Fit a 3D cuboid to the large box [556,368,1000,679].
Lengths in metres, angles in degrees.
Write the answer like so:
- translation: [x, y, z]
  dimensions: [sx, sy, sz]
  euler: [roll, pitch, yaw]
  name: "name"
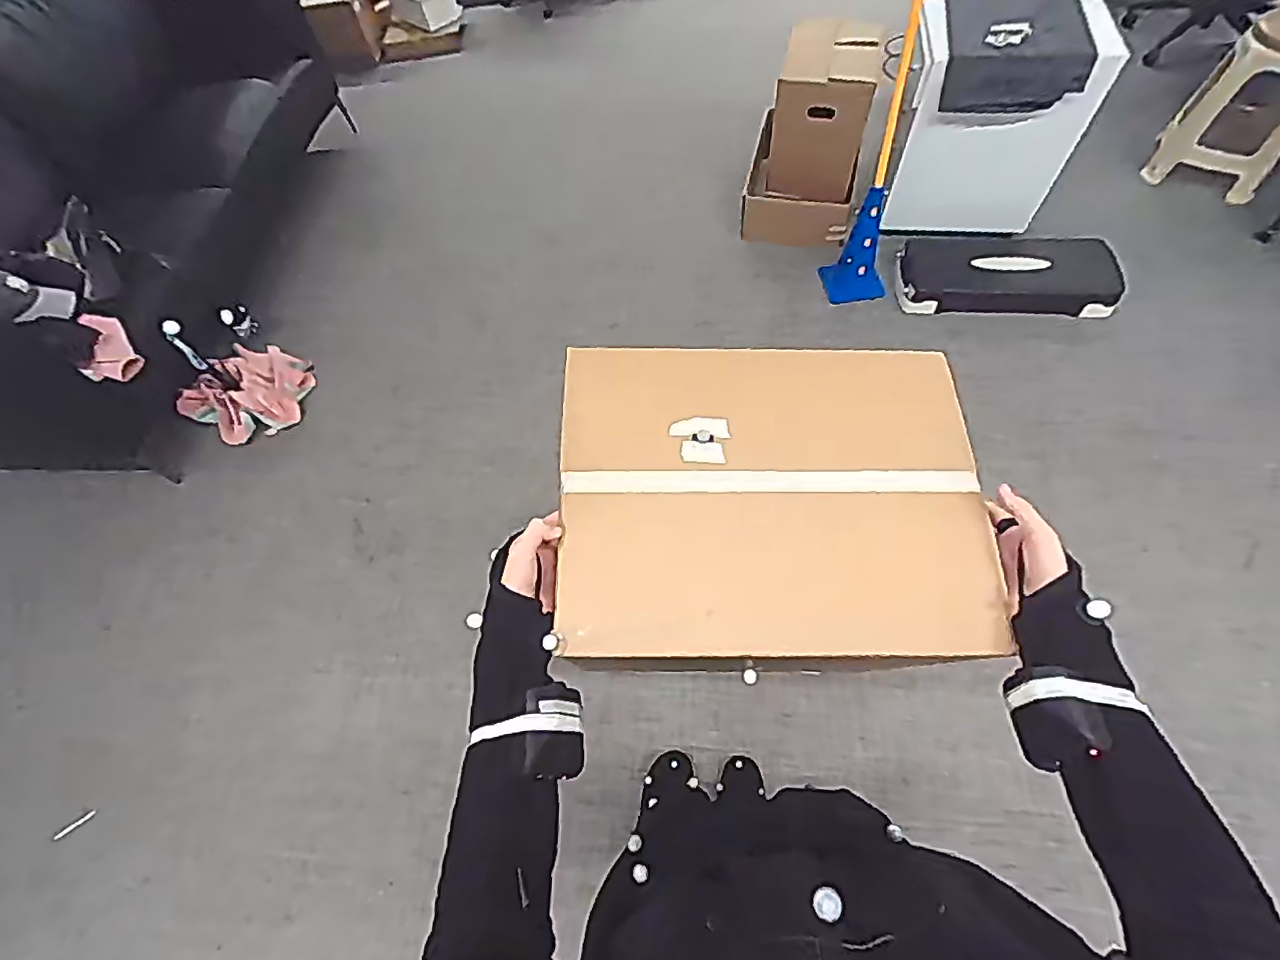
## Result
- translation: [0.122, 0.077, 0.670]
  dimensions: [0.408, 0.320, 0.320]
  euler: [0, 67, -1]
  name: "large box"
